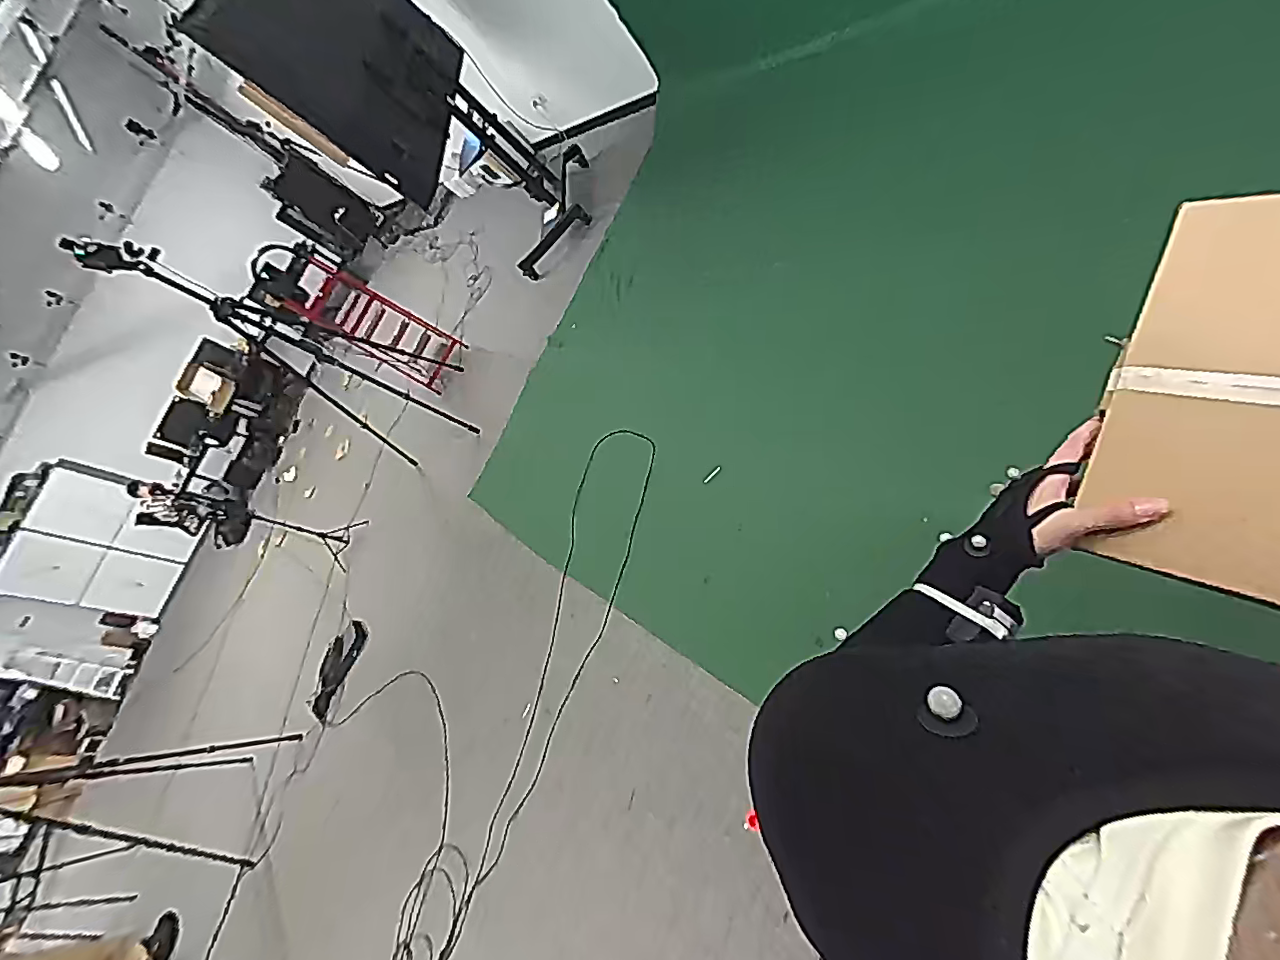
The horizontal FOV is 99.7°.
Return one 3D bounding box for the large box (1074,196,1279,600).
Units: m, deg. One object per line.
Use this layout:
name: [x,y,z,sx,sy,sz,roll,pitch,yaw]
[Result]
large box: [0.669,-0.028,0.448,0.408,0.320,0.320,20,97,46]
